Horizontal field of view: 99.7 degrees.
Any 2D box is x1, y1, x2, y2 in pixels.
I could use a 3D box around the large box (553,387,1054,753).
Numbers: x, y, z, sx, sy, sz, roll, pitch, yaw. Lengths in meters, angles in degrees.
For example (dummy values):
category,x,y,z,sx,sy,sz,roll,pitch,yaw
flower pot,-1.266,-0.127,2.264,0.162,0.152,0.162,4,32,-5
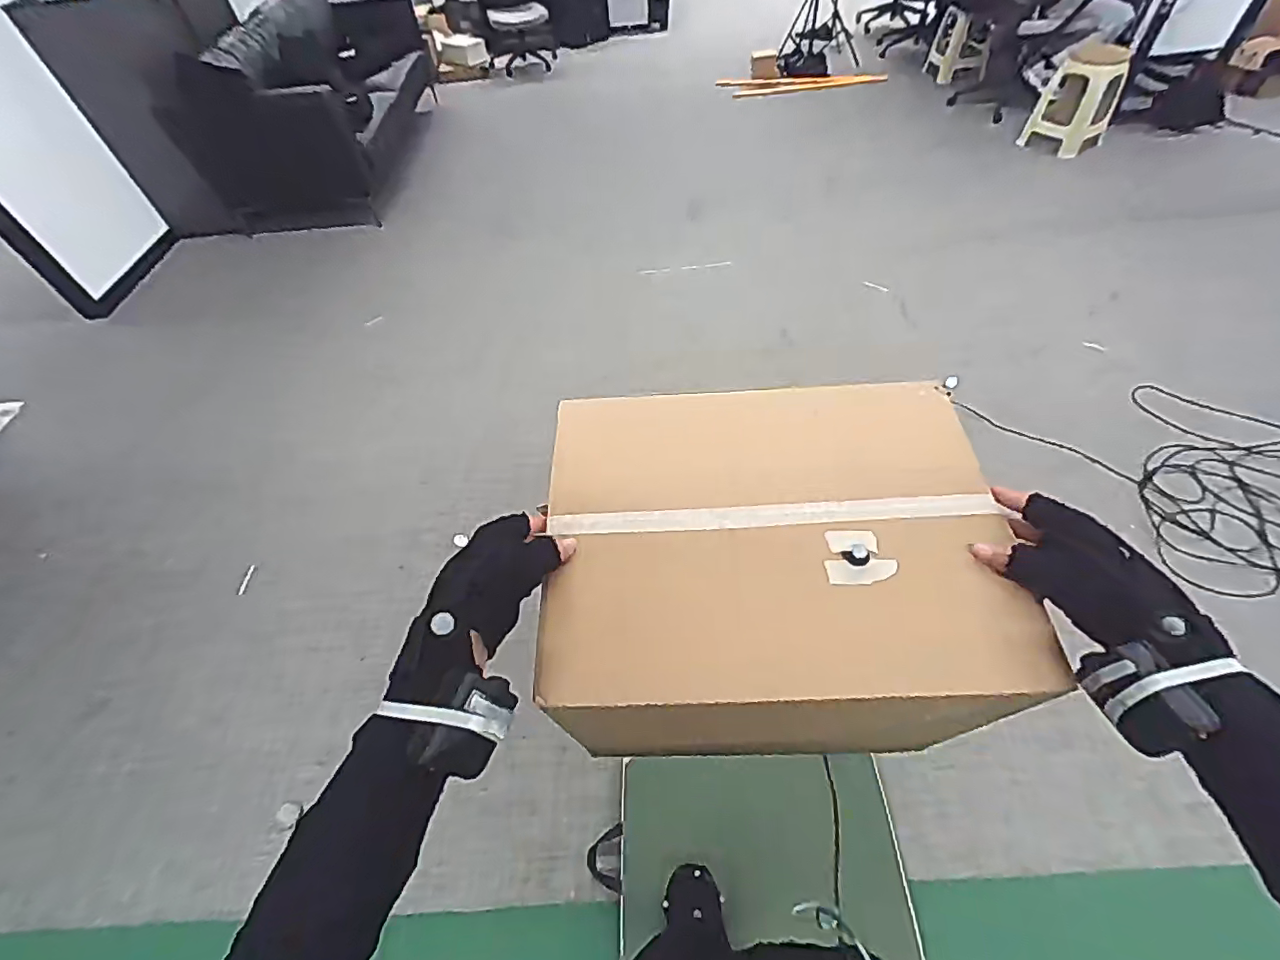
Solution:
category,x,y,z,sx,sy,sz,roll,pitch,yaw
large box,0.127,0.120,0.629,0.408,0.320,0.320,-3,57,2
